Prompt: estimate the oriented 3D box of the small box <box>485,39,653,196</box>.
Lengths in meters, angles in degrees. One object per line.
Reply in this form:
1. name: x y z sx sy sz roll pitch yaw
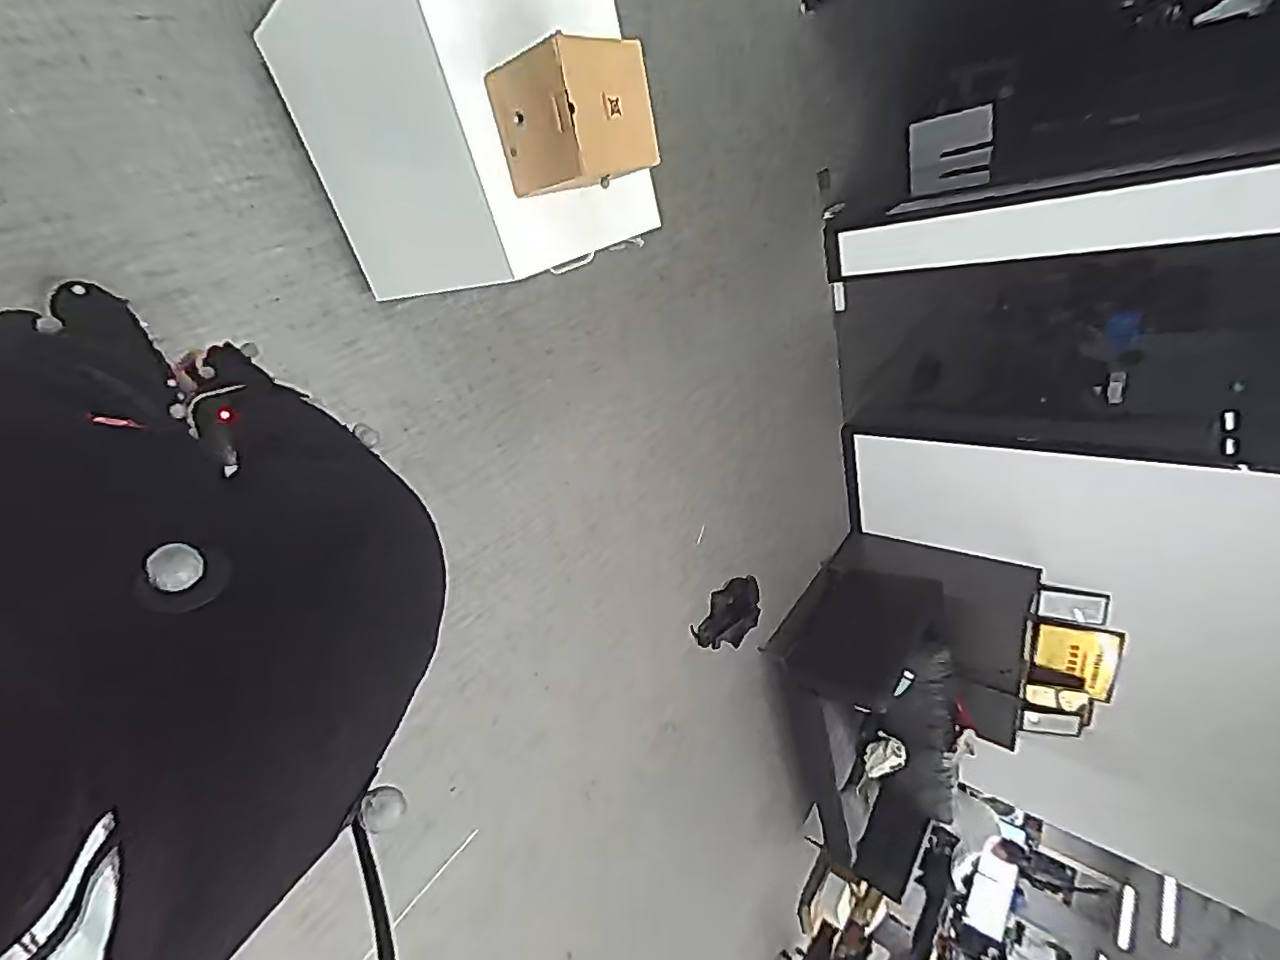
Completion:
1. small box: -0.107 -0.556 0.845 0.179 0.176 0.168 -36 124 -38
